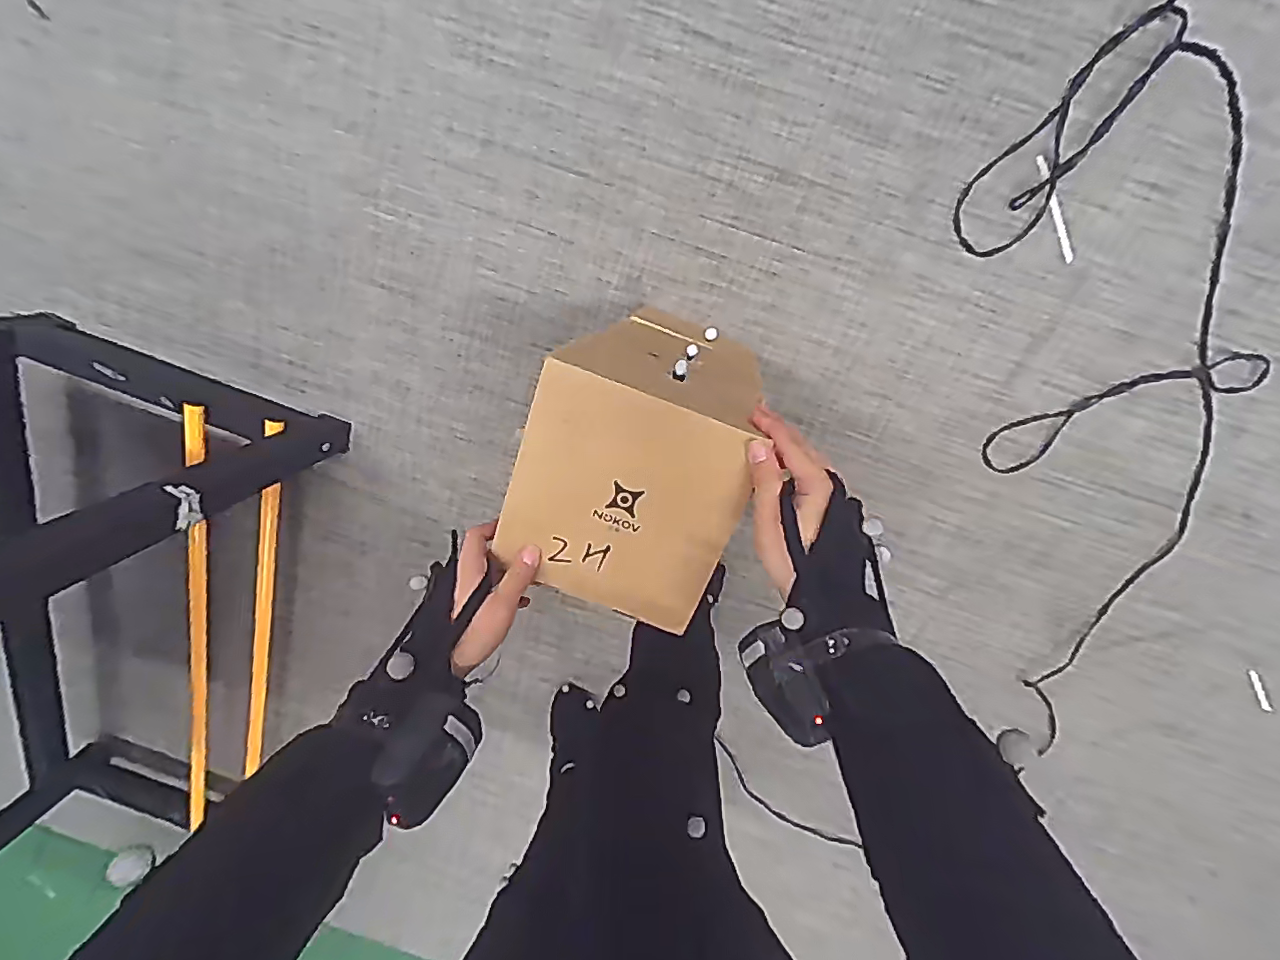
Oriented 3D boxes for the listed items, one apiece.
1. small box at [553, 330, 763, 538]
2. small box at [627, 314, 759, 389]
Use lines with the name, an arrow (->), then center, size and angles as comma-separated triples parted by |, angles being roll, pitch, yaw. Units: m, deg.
small box -> 0.024, -0.064, 0.619 | 0.179, 0.176, 0.168 | 20, 111, 1
small box -> 0.048, -0.126, 0.766 | 0.179, 0.176, 0.168 | 22, 111, -2
